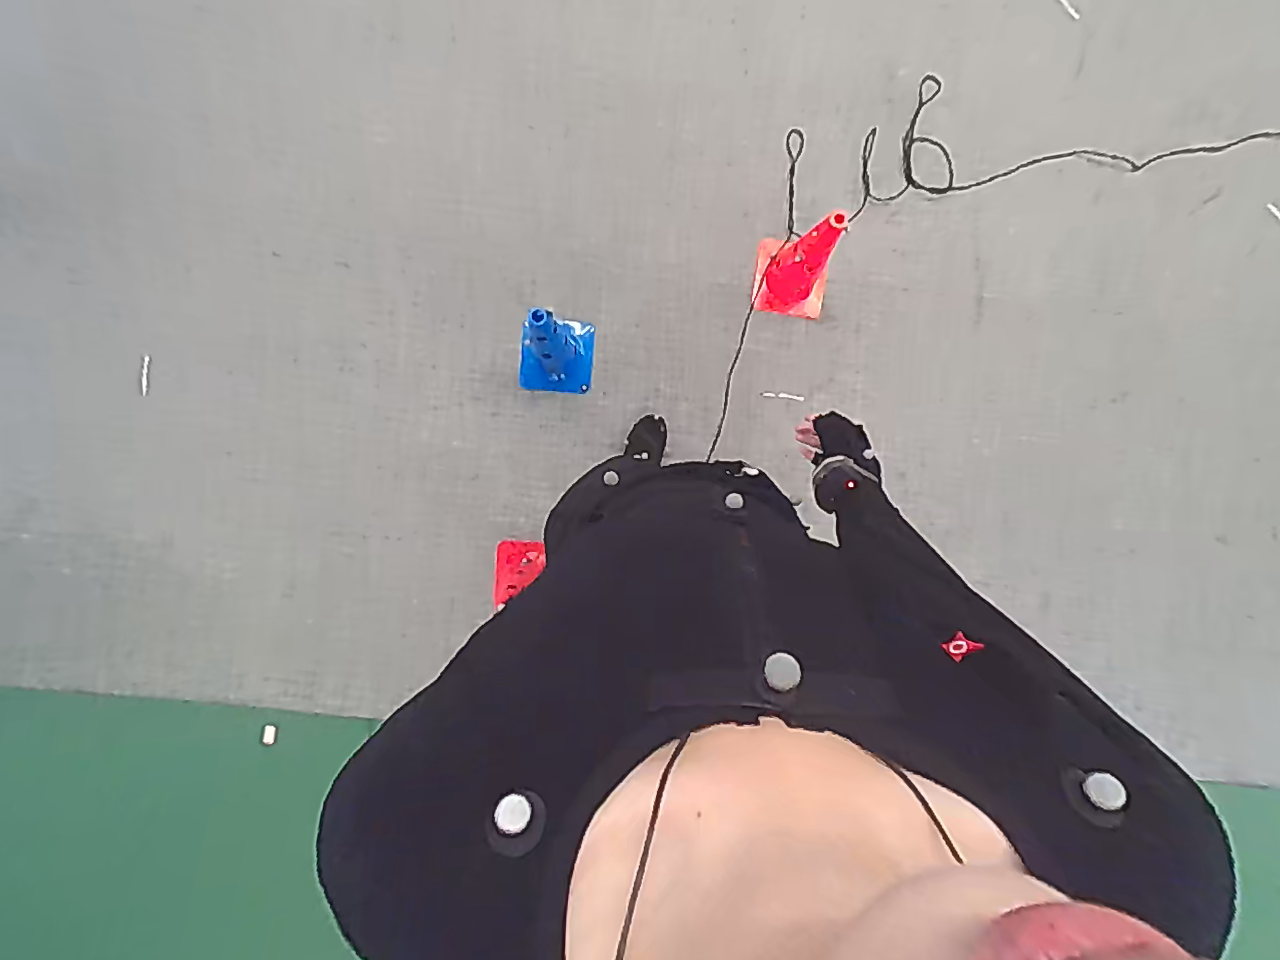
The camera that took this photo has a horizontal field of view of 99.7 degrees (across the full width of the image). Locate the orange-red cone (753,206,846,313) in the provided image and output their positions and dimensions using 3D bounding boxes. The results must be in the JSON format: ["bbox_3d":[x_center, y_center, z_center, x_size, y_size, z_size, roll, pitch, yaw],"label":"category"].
[{"bbox_3d":[0.426,-0.572,1.339,0.198,0.360,0.199,10,91,-1],"label":"orange-red cone"}]
